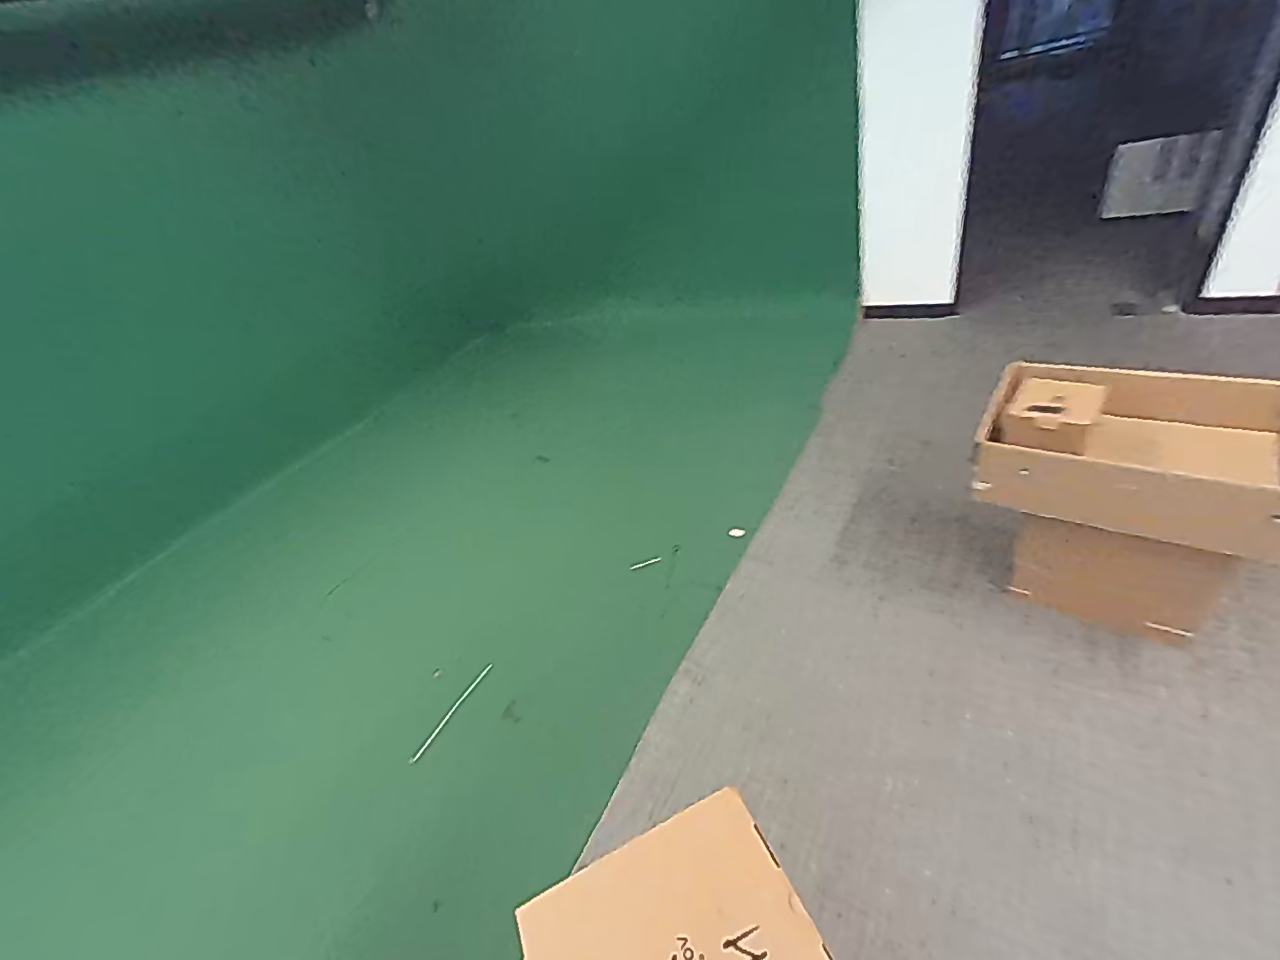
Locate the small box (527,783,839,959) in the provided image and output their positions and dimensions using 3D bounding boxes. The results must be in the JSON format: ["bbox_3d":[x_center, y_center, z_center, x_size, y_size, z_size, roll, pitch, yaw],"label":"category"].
[{"bbox_3d":[0.043,0.362,0.377,0.179,0.176,0.168,-22,38,-12],"label":"small box"}]
